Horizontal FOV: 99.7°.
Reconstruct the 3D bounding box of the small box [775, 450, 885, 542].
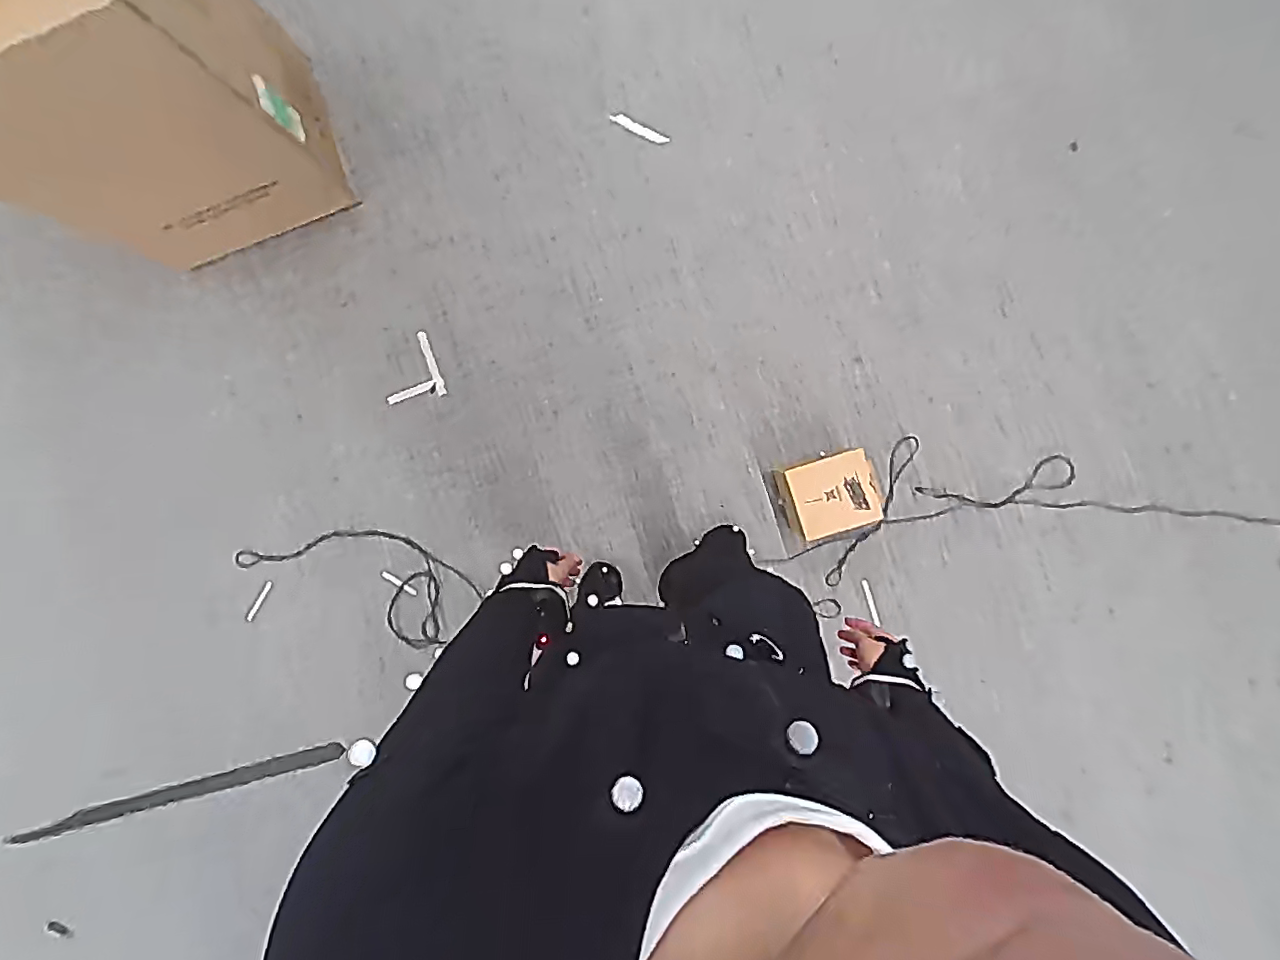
[{"bbox_3d":[0.432,0.031,1.255,0.179,0.176,0.168,-18,90,5],"label":"small box"}]
